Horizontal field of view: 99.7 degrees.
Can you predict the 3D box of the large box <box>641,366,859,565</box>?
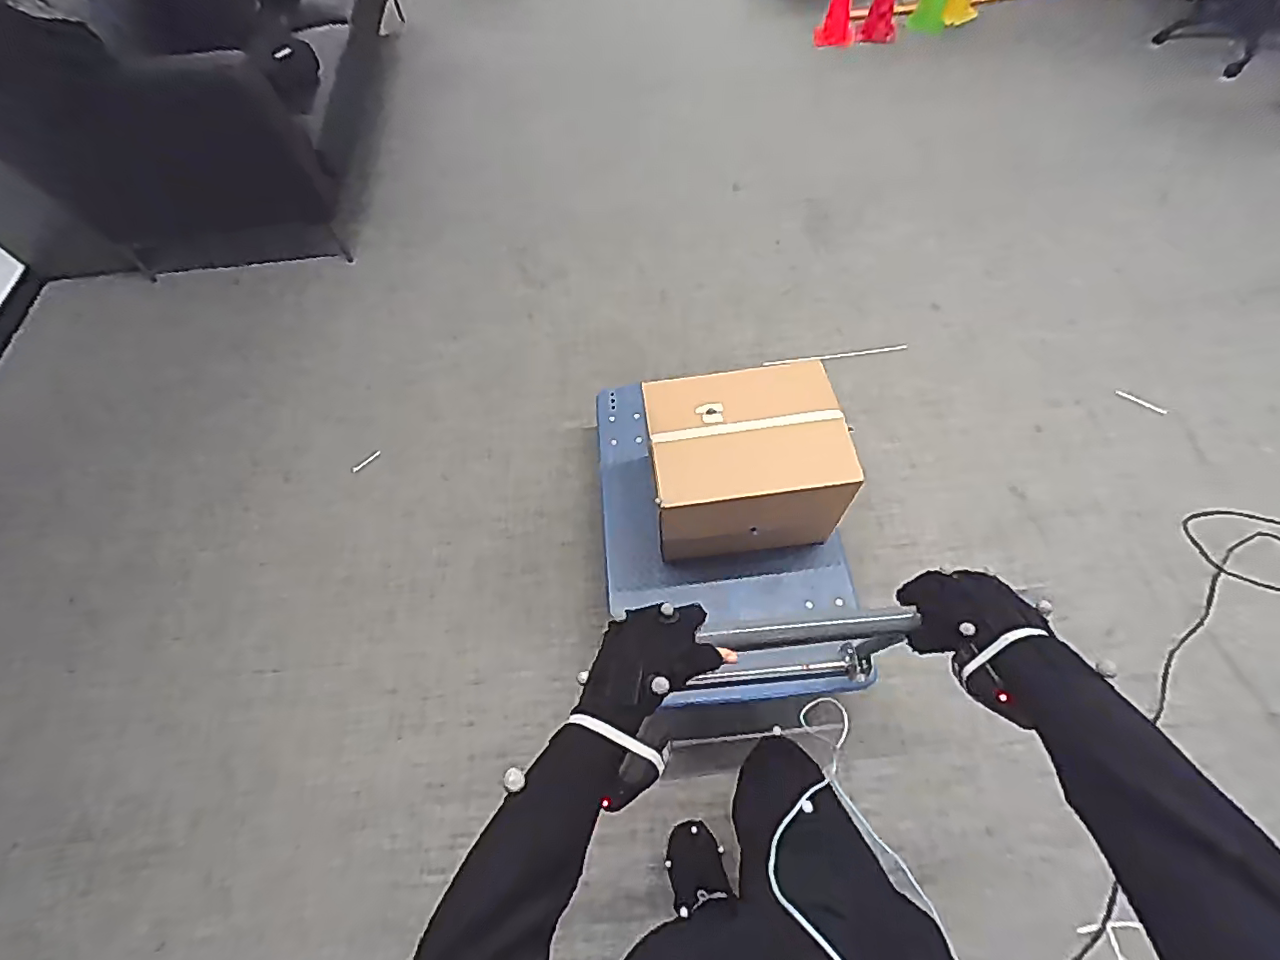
[{"bbox_3d":[0.232,-0.021,1.271,0.408,0.320,0.320,-10,61,0],"label":"large box"}]
